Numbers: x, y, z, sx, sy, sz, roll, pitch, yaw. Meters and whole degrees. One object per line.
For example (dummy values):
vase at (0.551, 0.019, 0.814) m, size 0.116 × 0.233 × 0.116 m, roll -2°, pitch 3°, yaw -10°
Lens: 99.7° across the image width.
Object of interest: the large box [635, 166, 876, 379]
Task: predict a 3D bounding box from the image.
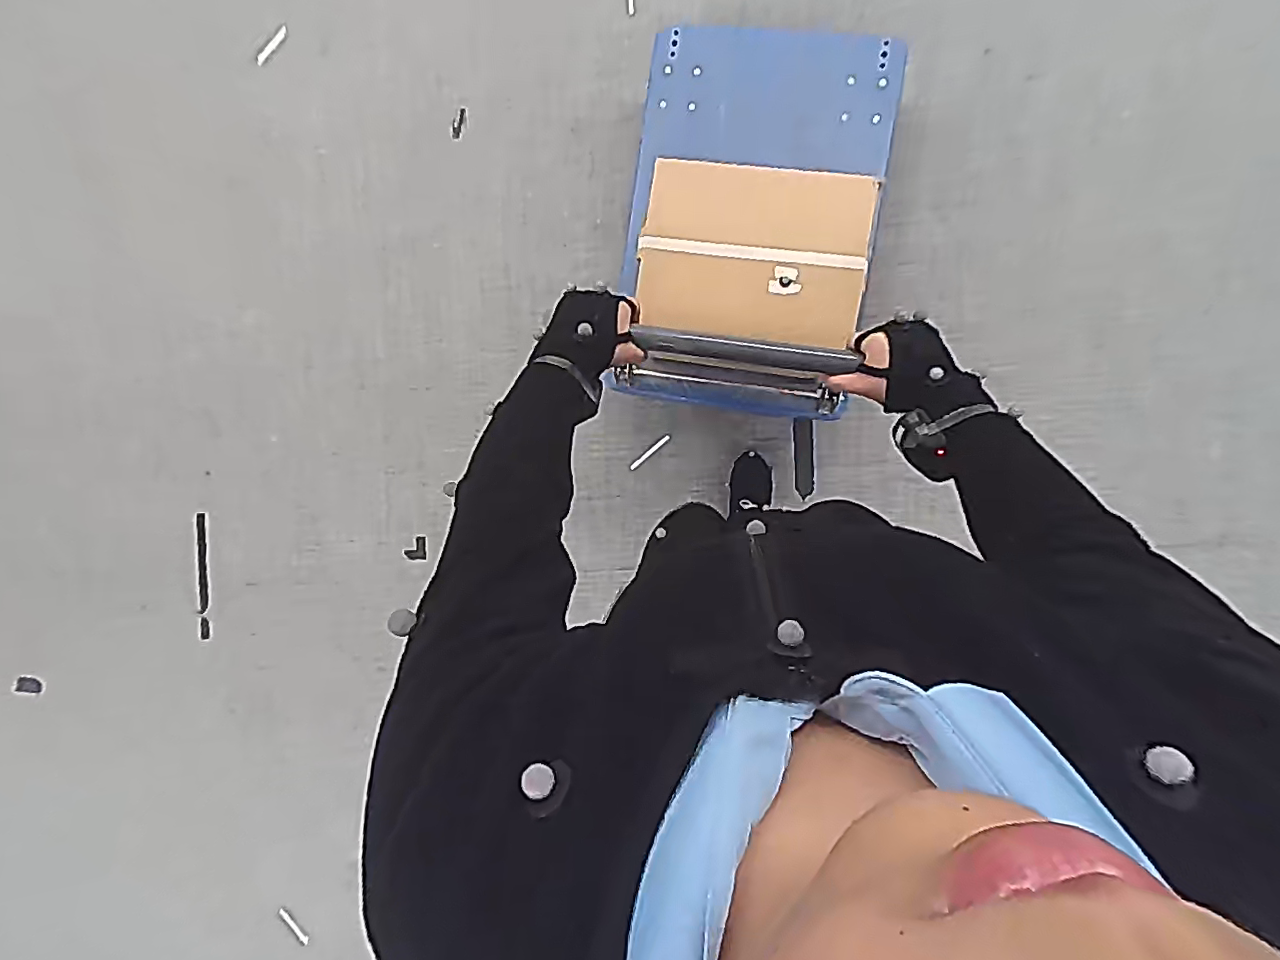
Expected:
large box at (0.218, -0.405, 1.128) m, size 0.408 × 0.320 × 0.320 m, roll 9°, pitch 94°, yaw 6°
